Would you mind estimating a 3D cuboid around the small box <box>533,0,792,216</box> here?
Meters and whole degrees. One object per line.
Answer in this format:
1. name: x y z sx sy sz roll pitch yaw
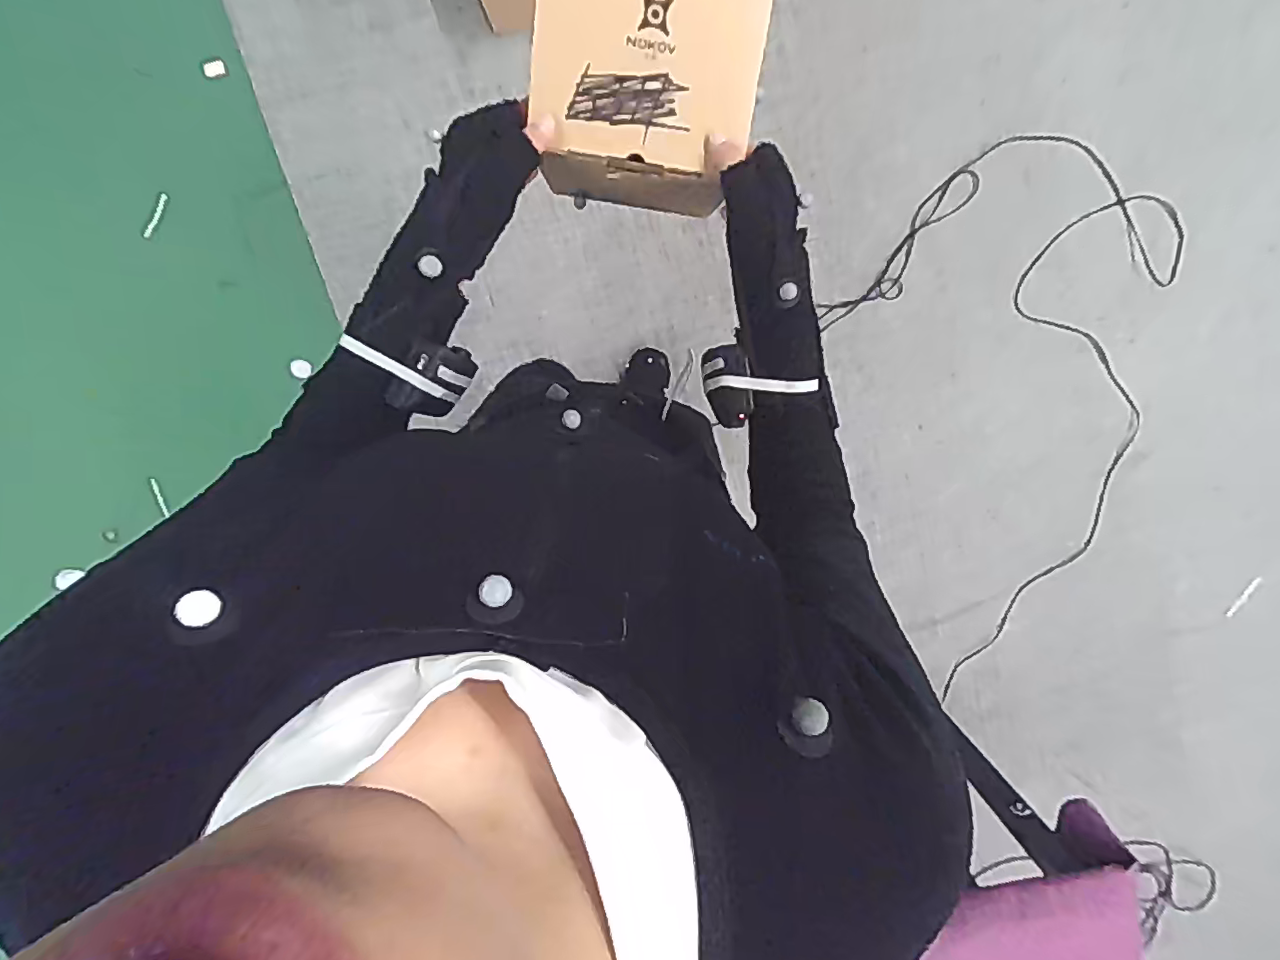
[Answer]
1. small box: 0.014 -0.337 0.453 0.168 0.176 0.179 10 107 -7
